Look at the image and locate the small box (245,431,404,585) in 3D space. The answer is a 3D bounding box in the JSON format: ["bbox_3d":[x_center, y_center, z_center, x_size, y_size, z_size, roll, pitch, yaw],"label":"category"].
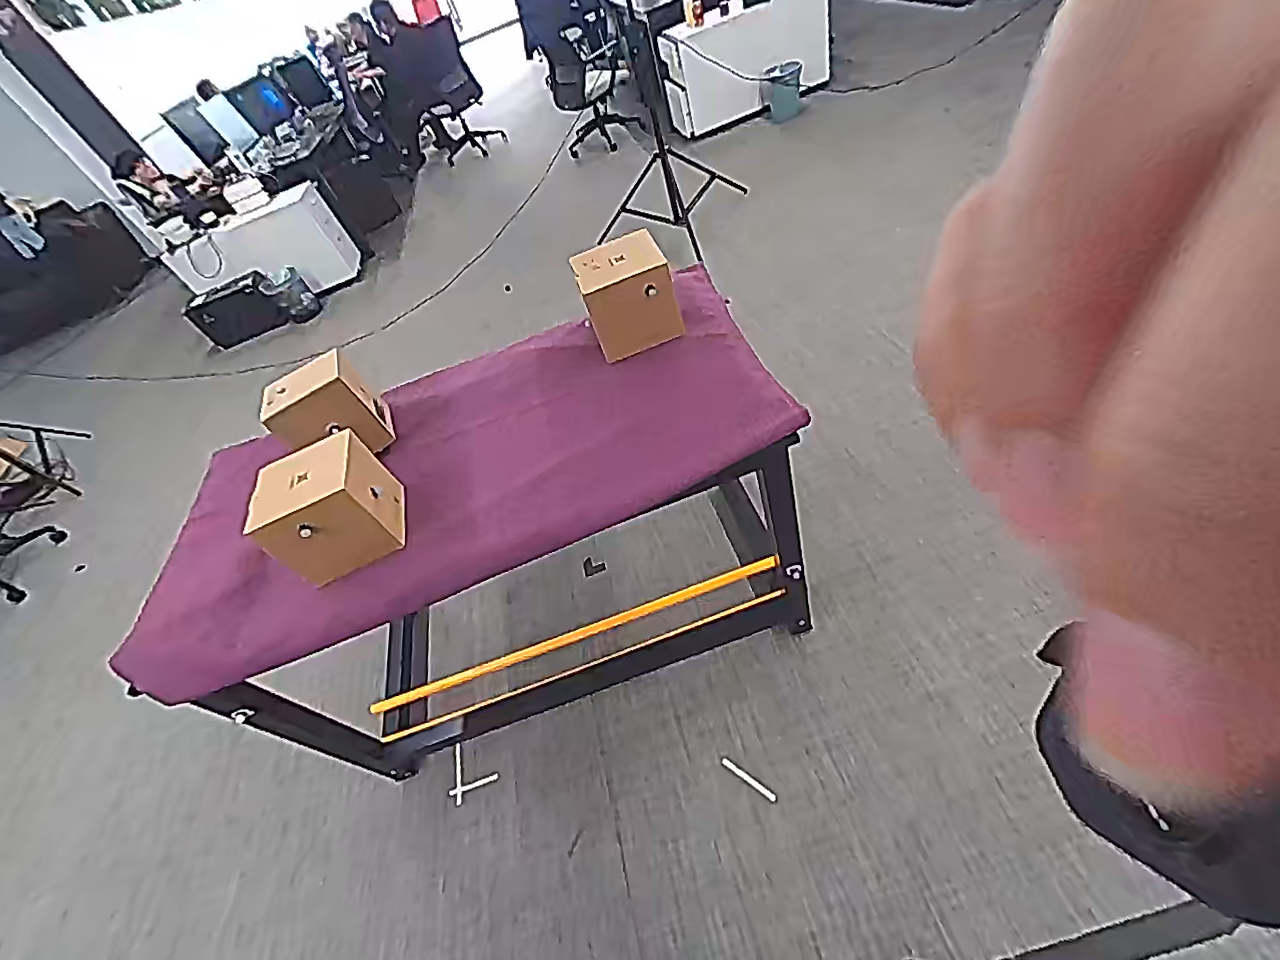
[{"bbox_3d":[-0.536,0.052,0.949,0.179,0.176,0.168,-25,46,-1],"label":"small box"}]

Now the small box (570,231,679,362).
[{"bbox_3d":[-0.027,-0.377,1.124,0.179,0.176,0.168,-21,47,2],"label":"small box"}]
